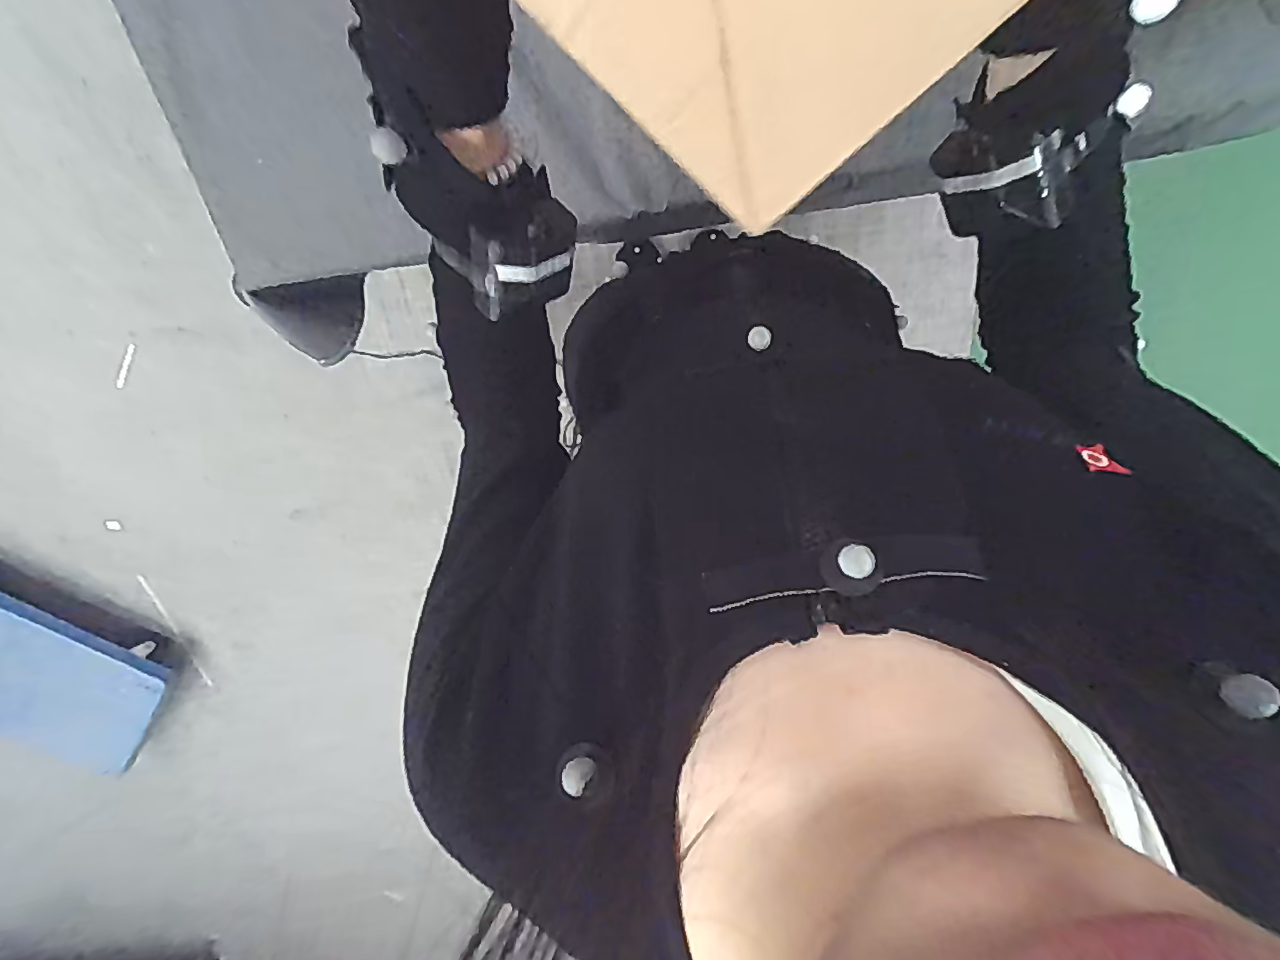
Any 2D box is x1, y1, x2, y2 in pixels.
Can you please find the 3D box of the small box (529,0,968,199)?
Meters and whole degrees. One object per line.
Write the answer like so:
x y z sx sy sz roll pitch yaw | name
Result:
0.030 -0.222 0.144 0.179 0.176 0.168 27 137 -34 | small box
